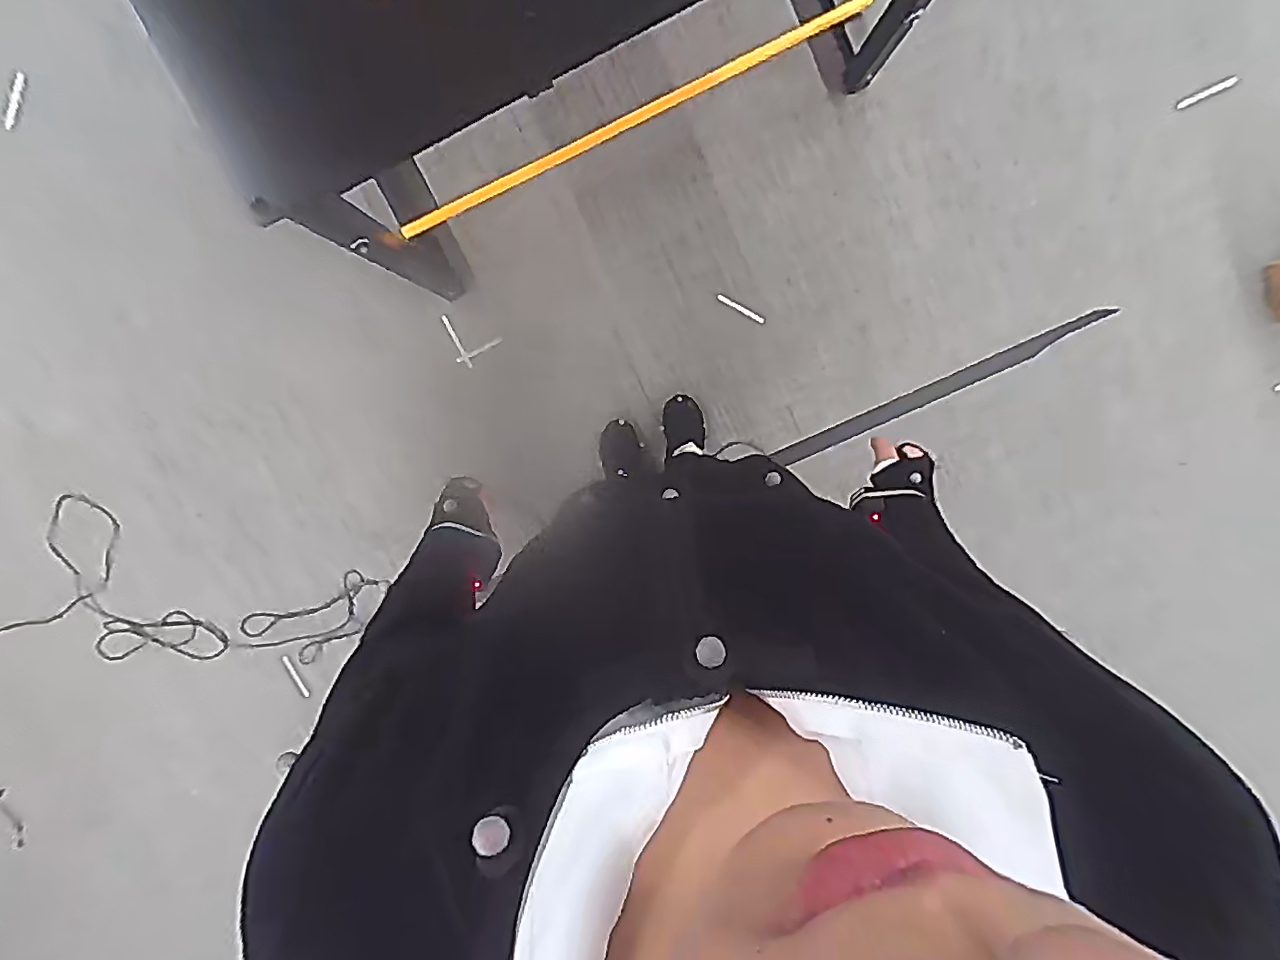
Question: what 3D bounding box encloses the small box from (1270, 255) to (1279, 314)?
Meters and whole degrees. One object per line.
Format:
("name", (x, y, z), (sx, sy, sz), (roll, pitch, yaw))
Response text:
("small box", (1.750, -0.524, 1.348), (0.179, 0.176, 0.168), (-25, 99, 4))
